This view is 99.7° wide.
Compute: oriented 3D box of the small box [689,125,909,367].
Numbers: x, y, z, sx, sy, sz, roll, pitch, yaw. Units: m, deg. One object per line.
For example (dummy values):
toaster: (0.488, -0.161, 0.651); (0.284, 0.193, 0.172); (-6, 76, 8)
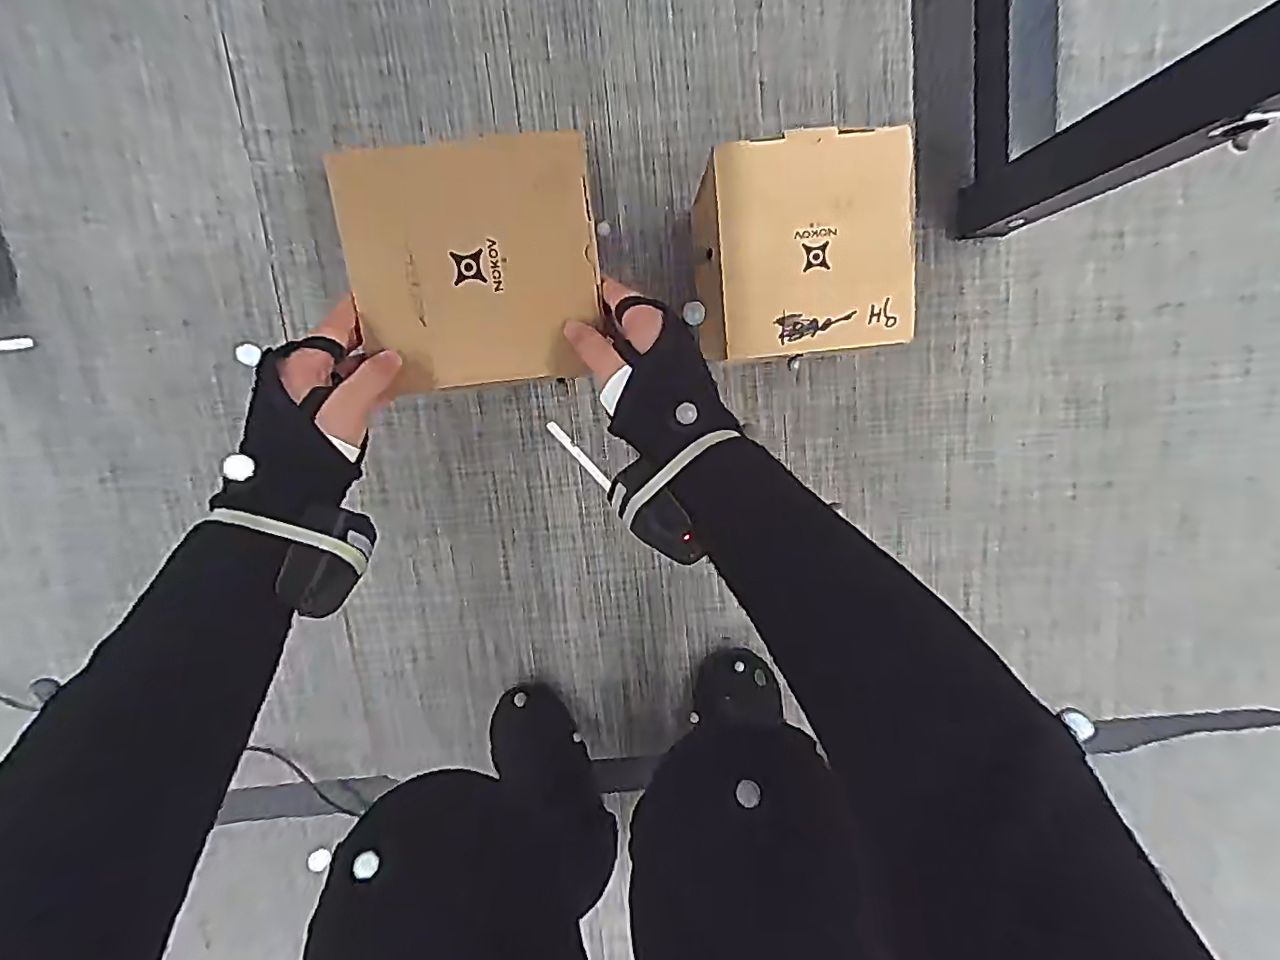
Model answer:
small box: (0.143, -0.212, 0.536); (0.168, 0.176, 0.179); (-6, 99, 1)

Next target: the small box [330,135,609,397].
small box: (-0.125, -0.166, 0.468); (0.179, 0.176, 0.168); (-8, 99, -2)
